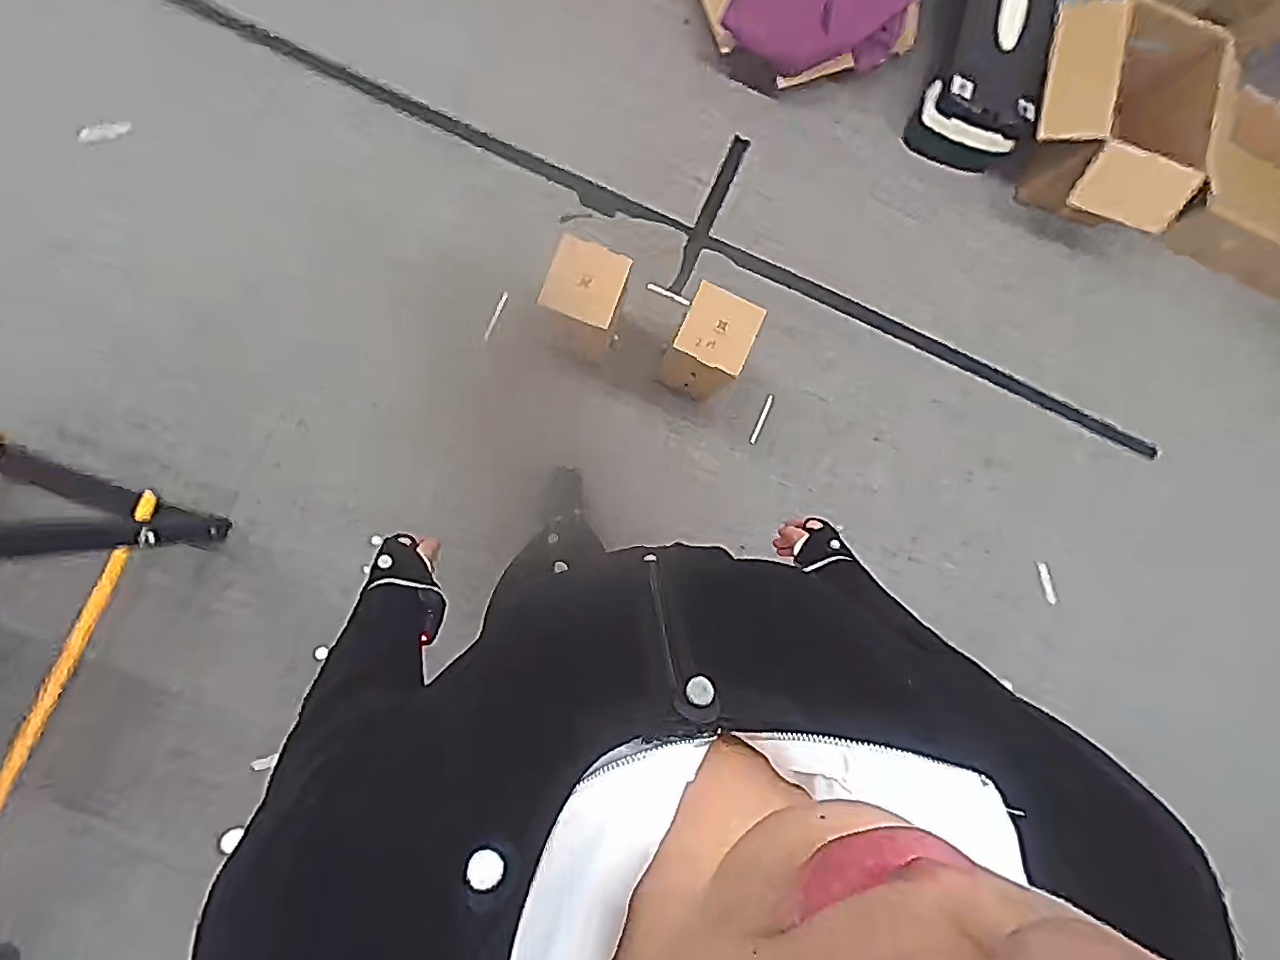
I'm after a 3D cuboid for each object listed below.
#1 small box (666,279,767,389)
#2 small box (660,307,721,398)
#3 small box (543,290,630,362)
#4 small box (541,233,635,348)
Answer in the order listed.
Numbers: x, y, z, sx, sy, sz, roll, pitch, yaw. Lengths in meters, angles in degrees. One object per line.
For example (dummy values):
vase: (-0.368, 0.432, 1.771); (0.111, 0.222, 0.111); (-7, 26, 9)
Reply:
small box: (0.175, -0.342, 1.302); (0.168, 0.176, 0.179); (25, 85, -4)
small box: (0.162, -0.339, 1.467); (0.168, 0.176, 0.179); (24, 85, -5)
small box: (-0.143, -0.433, 1.435); (0.179, 0.176, 0.168); (22, 85, -5)
small box: (-0.122, -0.437, 1.274); (0.168, 0.176, 0.179); (19, 87, -3)
